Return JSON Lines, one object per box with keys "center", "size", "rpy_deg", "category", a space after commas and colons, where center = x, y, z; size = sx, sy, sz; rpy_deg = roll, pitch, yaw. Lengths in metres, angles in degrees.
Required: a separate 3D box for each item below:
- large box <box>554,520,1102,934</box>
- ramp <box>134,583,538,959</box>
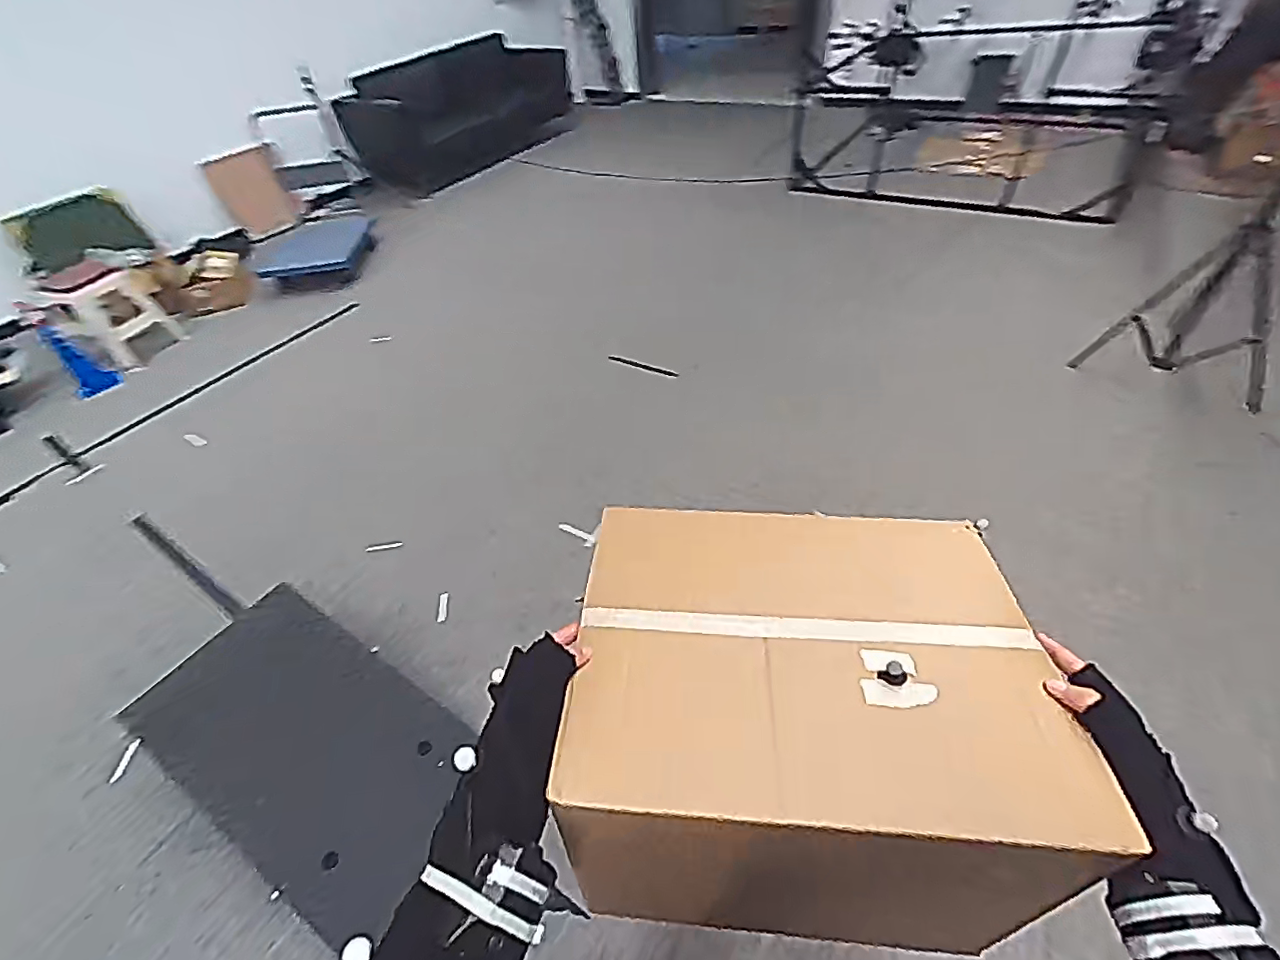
{"center": [0.143, 0.261, 0.600], "size": [0.408, 0.320, 0.320], "rpy_deg": [1, 40, 4], "category": "large box"}
{"center": [-0.798, 0.700, 1.420], "size": [0.991, 0.206, 0.509], "rpy_deg": [20, 51, 25], "category": "ramp"}
